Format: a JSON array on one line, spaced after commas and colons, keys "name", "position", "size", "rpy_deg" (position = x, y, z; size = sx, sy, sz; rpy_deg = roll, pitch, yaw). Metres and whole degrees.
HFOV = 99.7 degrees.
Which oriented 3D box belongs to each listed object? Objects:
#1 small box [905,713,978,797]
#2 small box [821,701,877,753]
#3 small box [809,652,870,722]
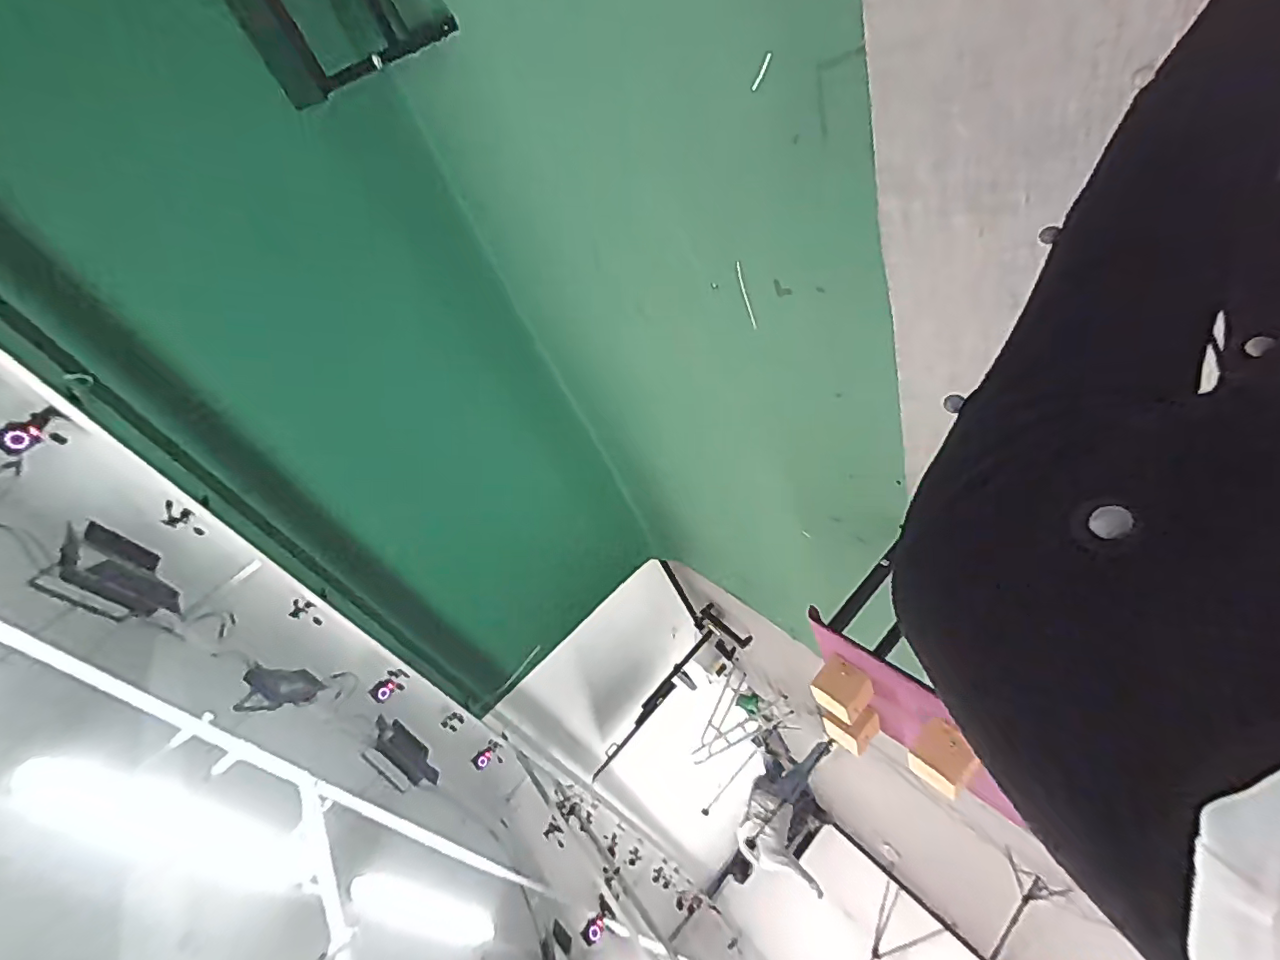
[{"name": "small box", "position": [1.063, 0.964, 1.903], "size": [0.168, 0.176, 0.179], "rpy_deg": [30, 155, 46]}, {"name": "small box", "position": [0.932, 1.062, 2.397], "size": [0.168, 0.176, 0.179], "rpy_deg": [26, 150, 46]}, {"name": "small box", "position": [0.817, 0.837, 2.198], "size": [0.168, 0.176, 0.179], "rpy_deg": [28, 154, 45]}]
